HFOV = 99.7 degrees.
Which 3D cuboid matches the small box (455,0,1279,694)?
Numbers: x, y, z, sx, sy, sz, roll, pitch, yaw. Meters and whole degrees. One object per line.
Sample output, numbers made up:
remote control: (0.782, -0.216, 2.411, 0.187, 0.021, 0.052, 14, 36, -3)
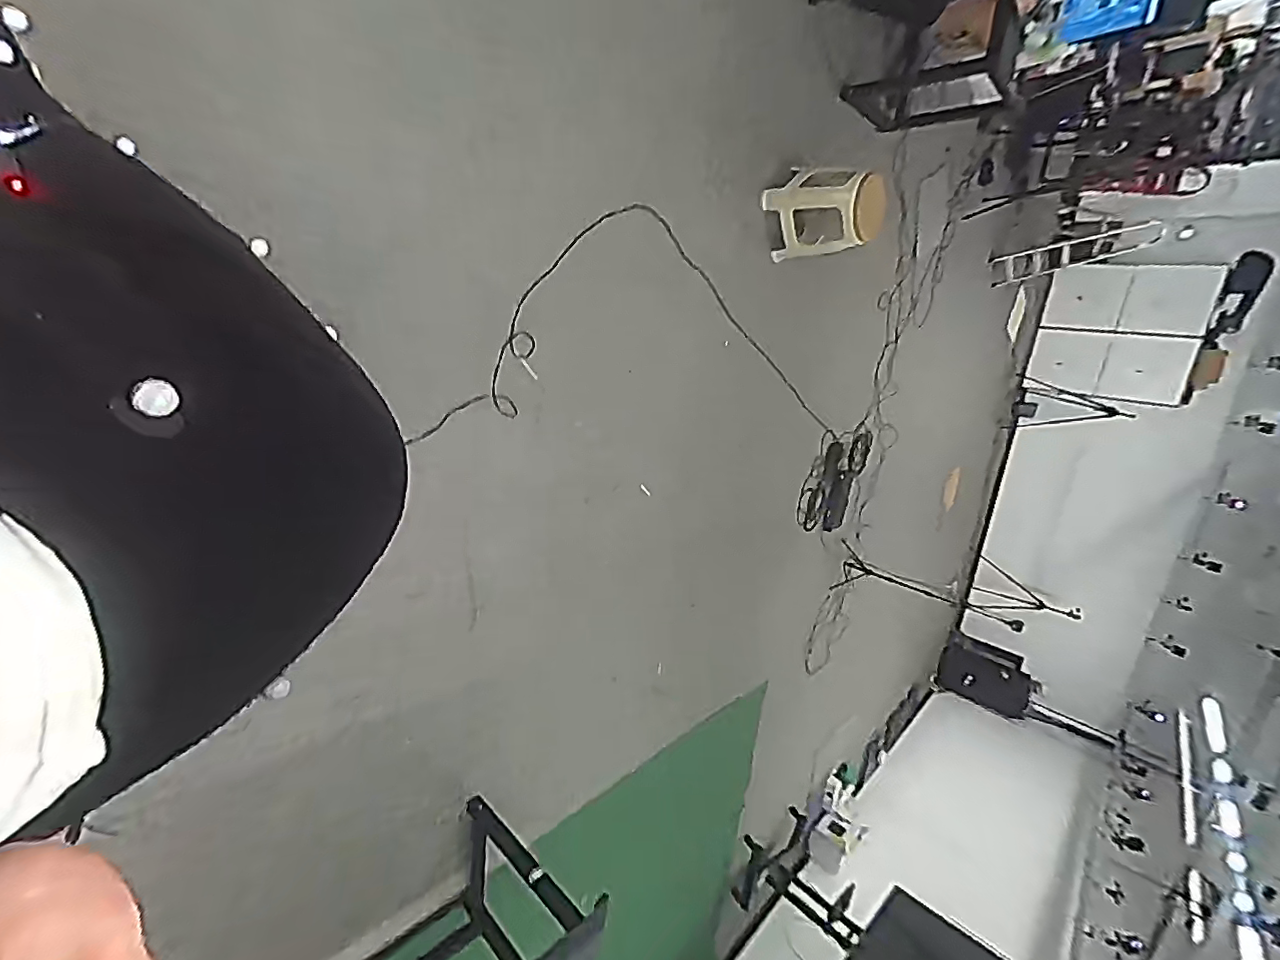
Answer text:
small box: (0.079, -0.053, 0.147, 0.179, 0.176, 0.168, 30, 58, -19)
